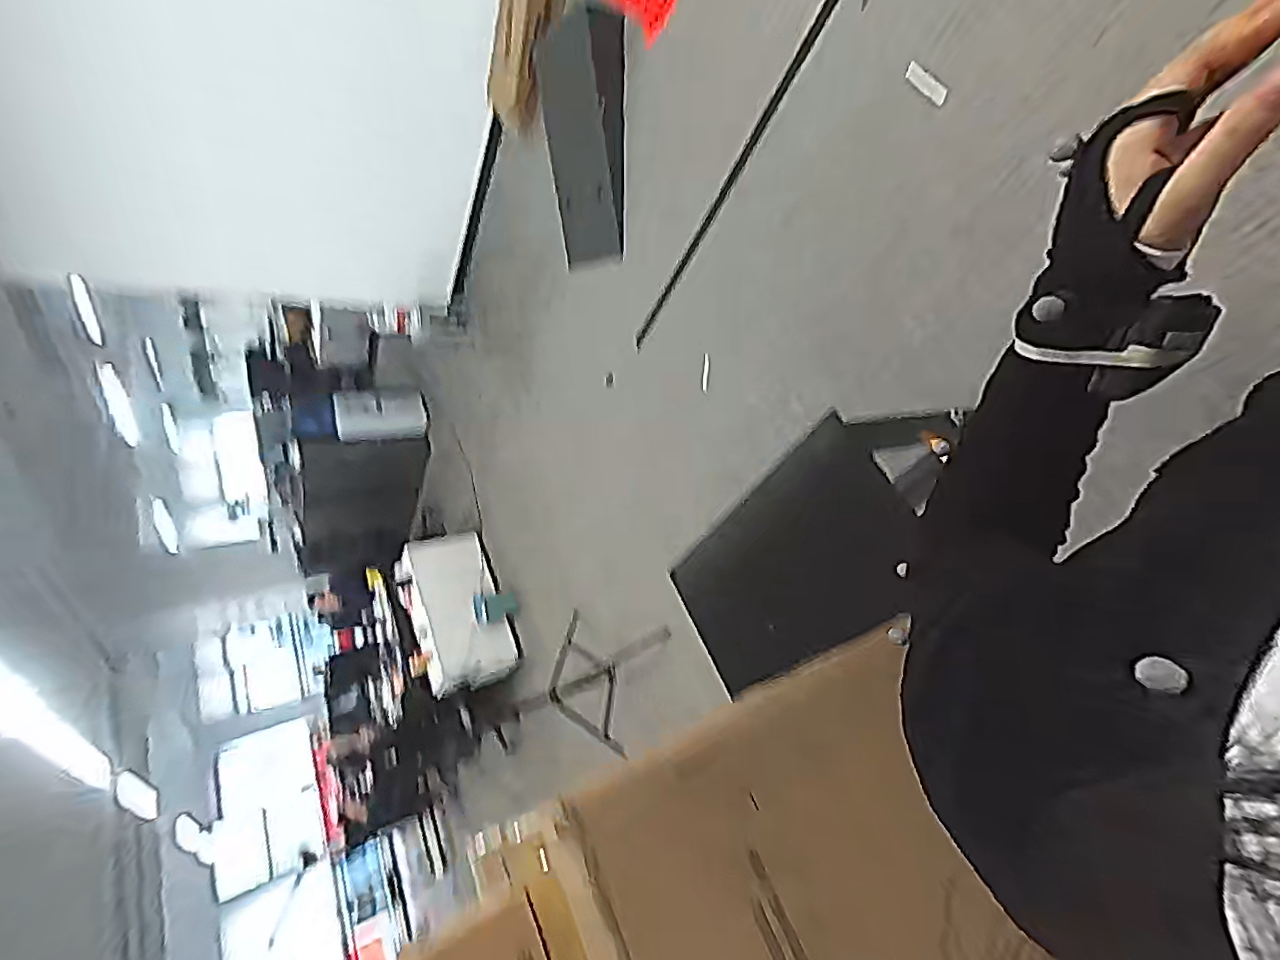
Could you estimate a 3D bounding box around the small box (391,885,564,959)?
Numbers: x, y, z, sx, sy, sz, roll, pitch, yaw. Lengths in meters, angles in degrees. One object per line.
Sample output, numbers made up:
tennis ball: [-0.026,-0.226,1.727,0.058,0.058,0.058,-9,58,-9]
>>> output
small box: [-0.166,0.541,0.536,0.168,0.176,0.179,60,140,25]
